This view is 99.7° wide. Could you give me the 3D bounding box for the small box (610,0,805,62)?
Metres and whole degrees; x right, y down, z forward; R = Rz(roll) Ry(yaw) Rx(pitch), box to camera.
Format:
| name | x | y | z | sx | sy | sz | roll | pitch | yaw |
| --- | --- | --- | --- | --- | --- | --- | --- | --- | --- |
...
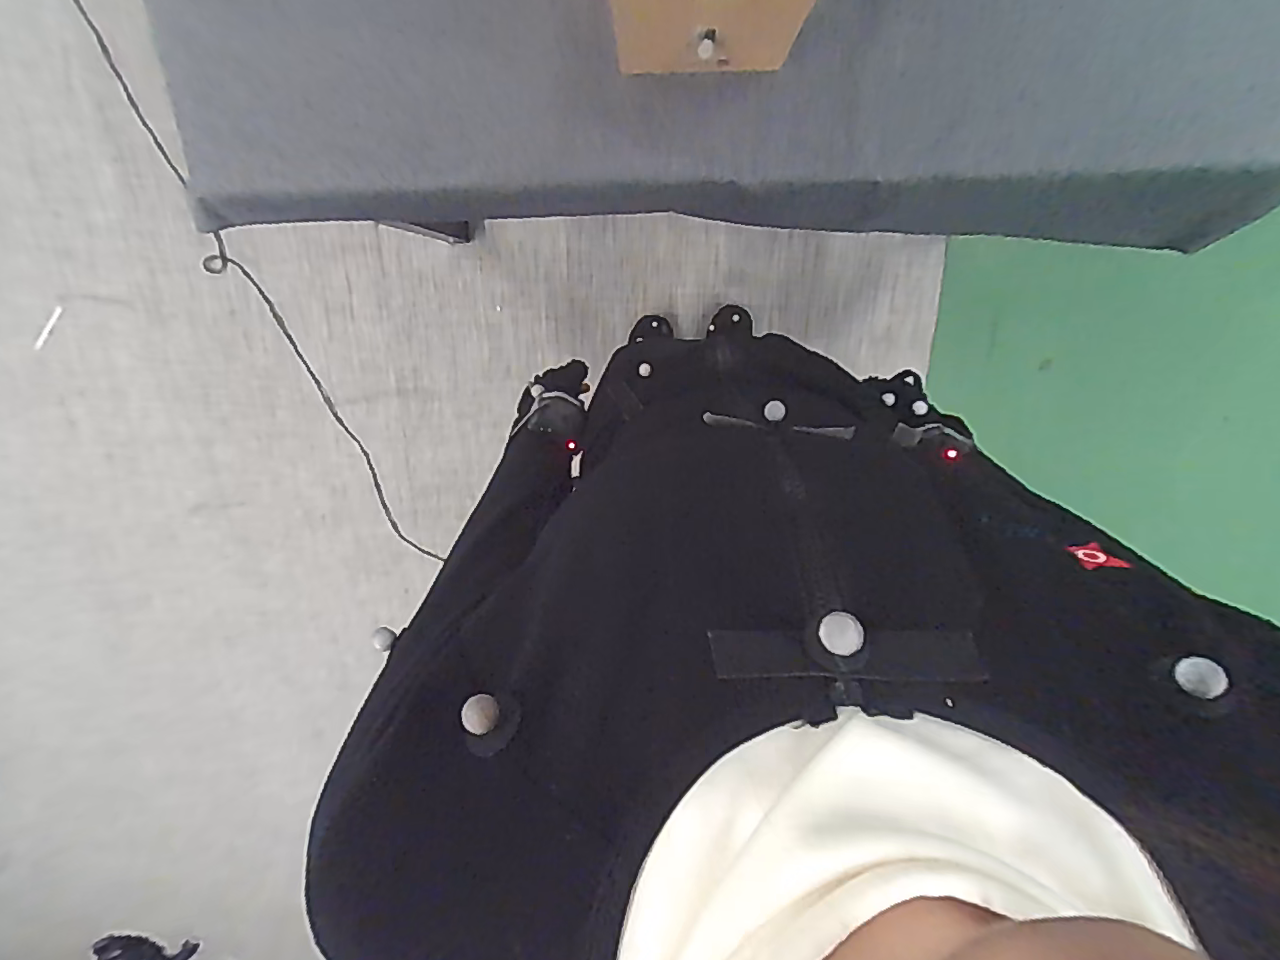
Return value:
| name | x | y | z | sx | sy | sz | roll | pitch | yaw |
| --- | --- | --- | --- | --- | --- | --- | --- | --- | --- |
| small box | 0.060 | -0.479 | 0.451 | 0.168 | 0.176 | 0.179 | 0 | 109 | 2 |
